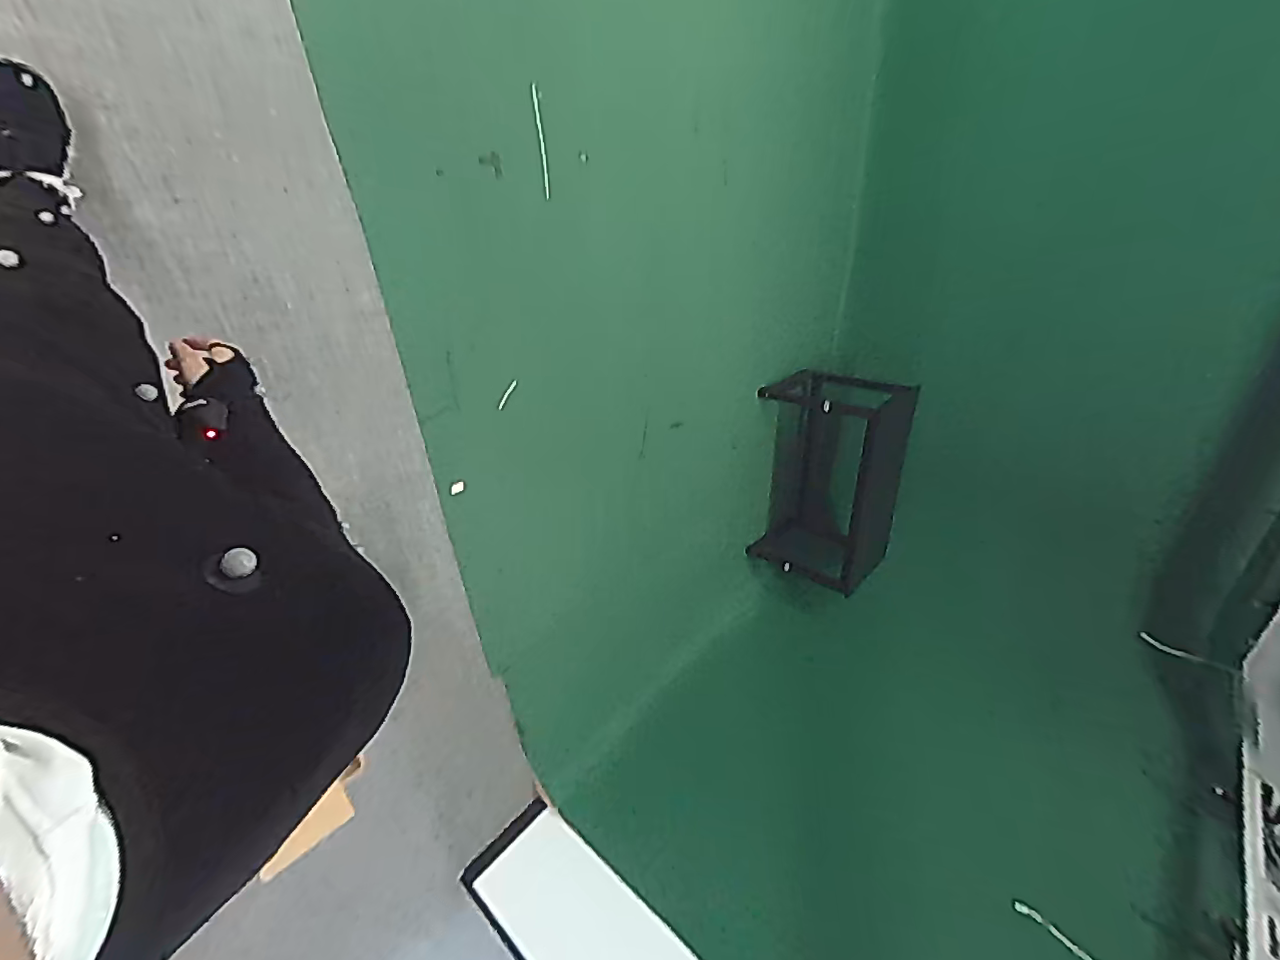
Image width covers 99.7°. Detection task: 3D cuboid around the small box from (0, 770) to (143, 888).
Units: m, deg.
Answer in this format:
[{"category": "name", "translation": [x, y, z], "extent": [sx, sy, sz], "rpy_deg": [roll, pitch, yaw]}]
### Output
[{"category": "small box", "translation": [-1.000, 0.650, 0.930], "extent": [0.168, 0.176, 0.179], "rpy_deg": [-24, 123, -42]}]

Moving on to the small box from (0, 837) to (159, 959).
[{"category": "small box", "translation": [-0.884, 0.692, 0.820], "extent": [0.168, 0.176, 0.179], "rpy_deg": [-29, 127, -39]}]
